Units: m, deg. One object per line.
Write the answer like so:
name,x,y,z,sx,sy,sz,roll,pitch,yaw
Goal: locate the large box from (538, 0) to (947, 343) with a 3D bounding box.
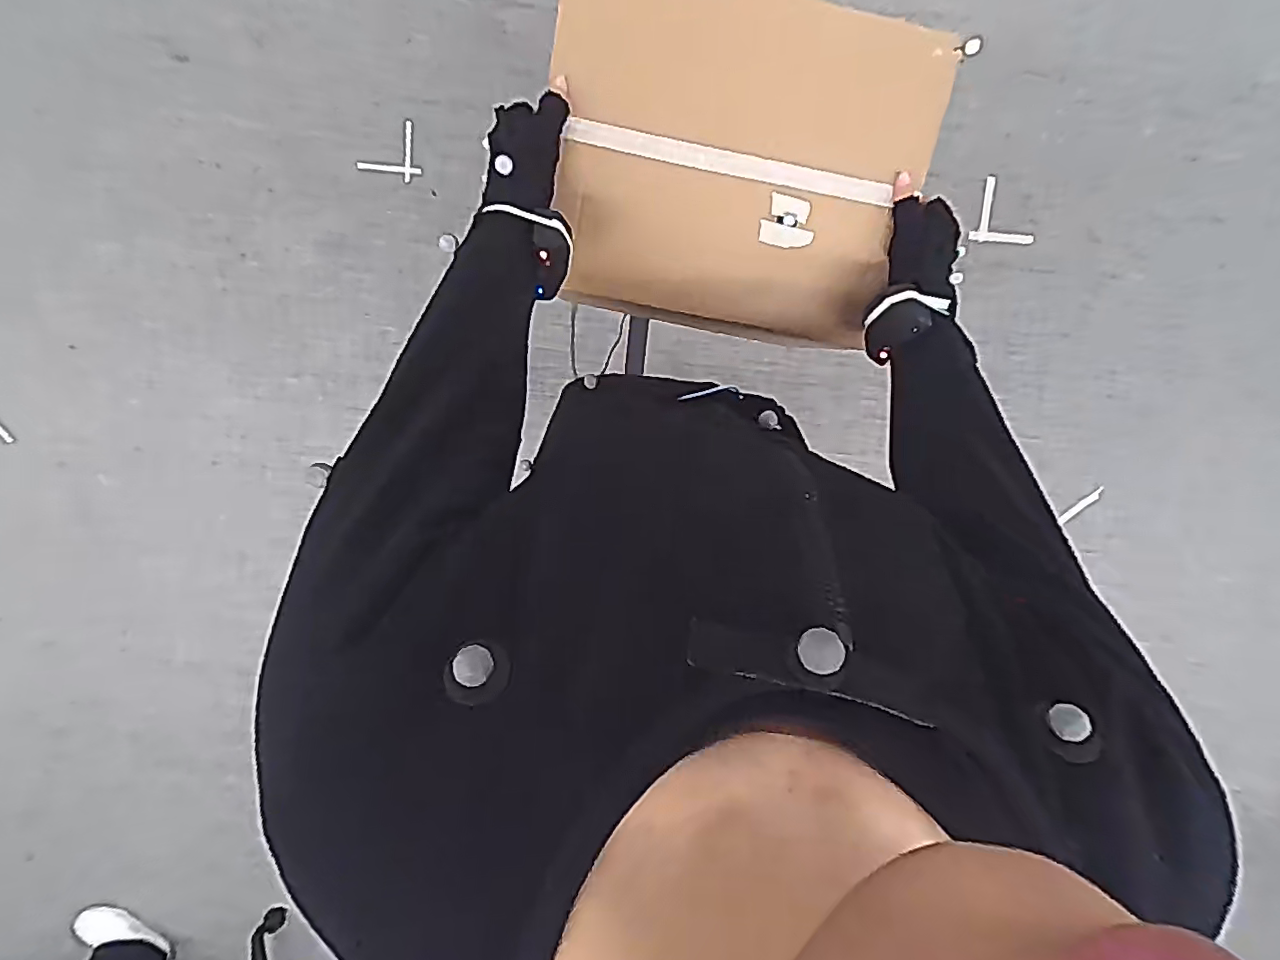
large box,0.096,-0.375,0.731,0.408,0.320,0.320,10,105,-5
